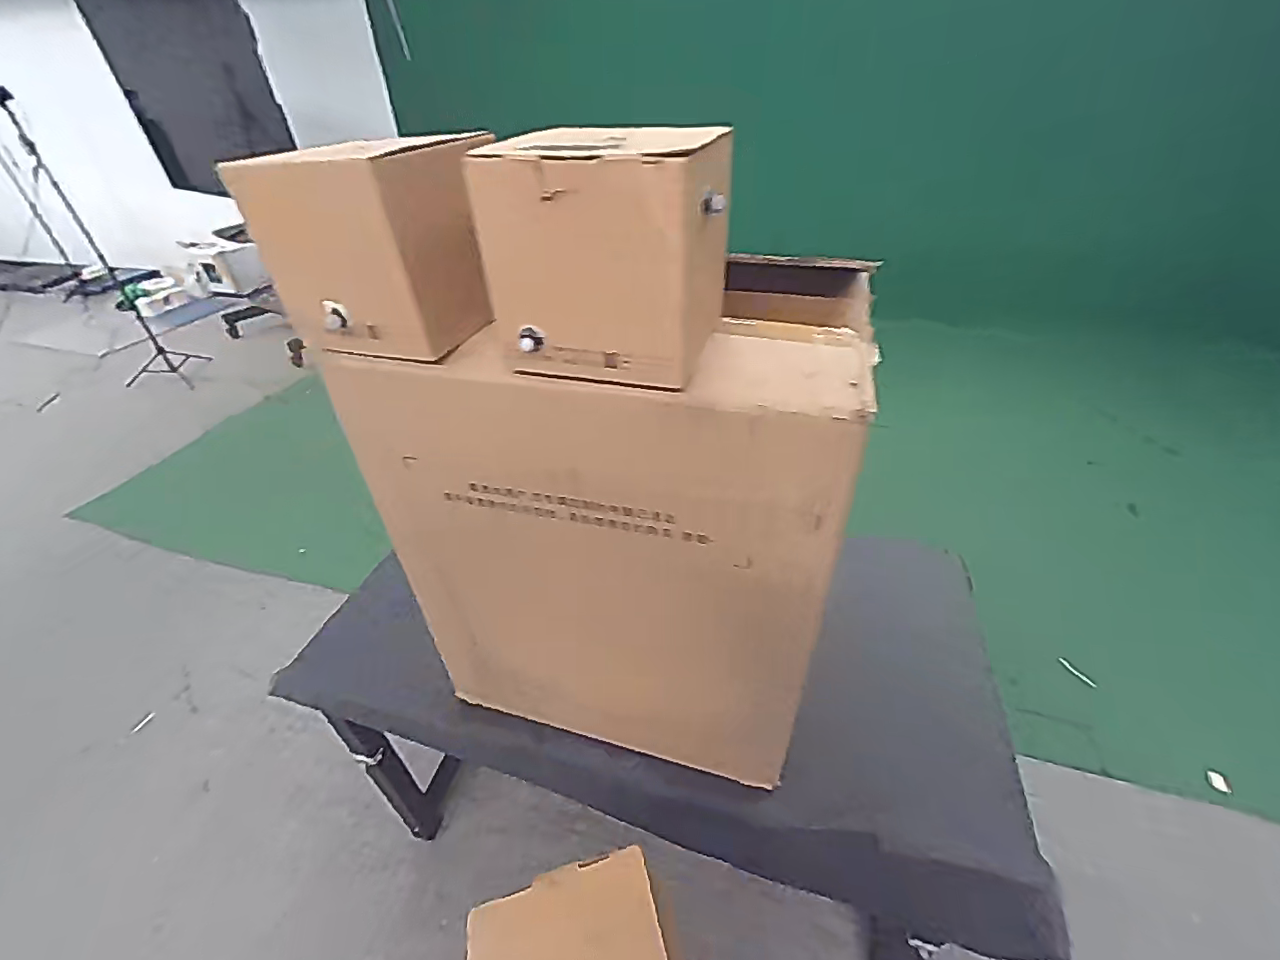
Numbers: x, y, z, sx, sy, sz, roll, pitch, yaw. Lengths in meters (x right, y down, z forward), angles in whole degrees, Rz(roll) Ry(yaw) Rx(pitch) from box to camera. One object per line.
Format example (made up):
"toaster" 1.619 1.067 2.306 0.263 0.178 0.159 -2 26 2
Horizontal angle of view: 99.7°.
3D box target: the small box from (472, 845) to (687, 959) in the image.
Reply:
"small box" -0.036 0.472 0.470 0.168 0.176 0.179 -19 36 -7

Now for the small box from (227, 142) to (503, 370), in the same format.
"small box" -0.242 -0.228 0.543 0.168 0.176 0.179 7 39 17

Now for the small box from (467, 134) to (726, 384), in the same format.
"small box" -0.021 -0.198 0.481 0.168 0.176 0.179 9 38 14
